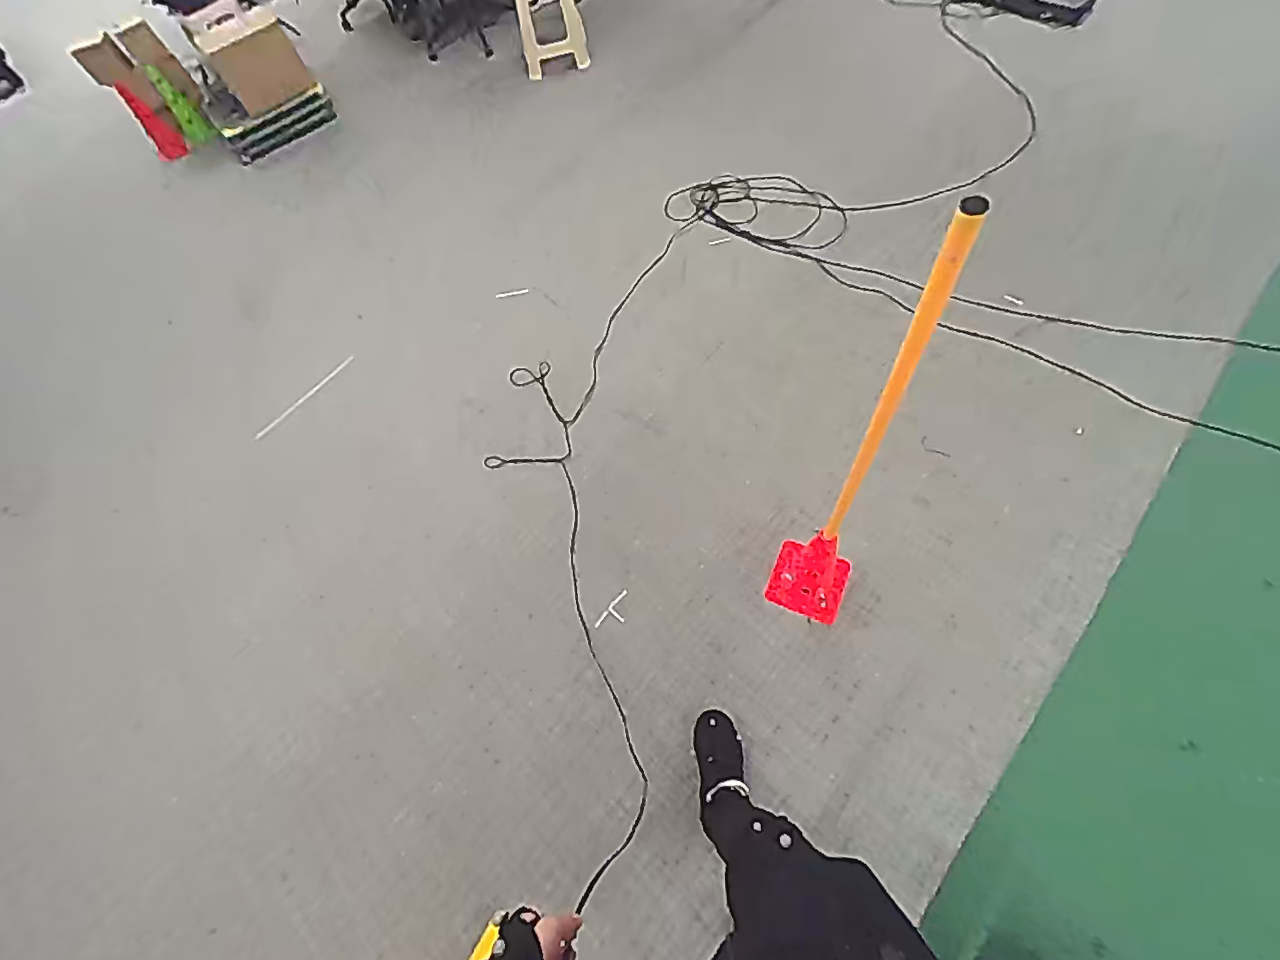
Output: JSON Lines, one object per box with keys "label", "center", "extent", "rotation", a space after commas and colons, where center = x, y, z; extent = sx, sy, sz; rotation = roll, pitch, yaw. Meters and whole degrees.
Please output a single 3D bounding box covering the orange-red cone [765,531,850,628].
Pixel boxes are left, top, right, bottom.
{"label": "orange-red cone", "center": [0.451, 0.213, 1.374], "extent": [0.198, 0.360, 0.199], "rotation": [21, 66, 18]}
